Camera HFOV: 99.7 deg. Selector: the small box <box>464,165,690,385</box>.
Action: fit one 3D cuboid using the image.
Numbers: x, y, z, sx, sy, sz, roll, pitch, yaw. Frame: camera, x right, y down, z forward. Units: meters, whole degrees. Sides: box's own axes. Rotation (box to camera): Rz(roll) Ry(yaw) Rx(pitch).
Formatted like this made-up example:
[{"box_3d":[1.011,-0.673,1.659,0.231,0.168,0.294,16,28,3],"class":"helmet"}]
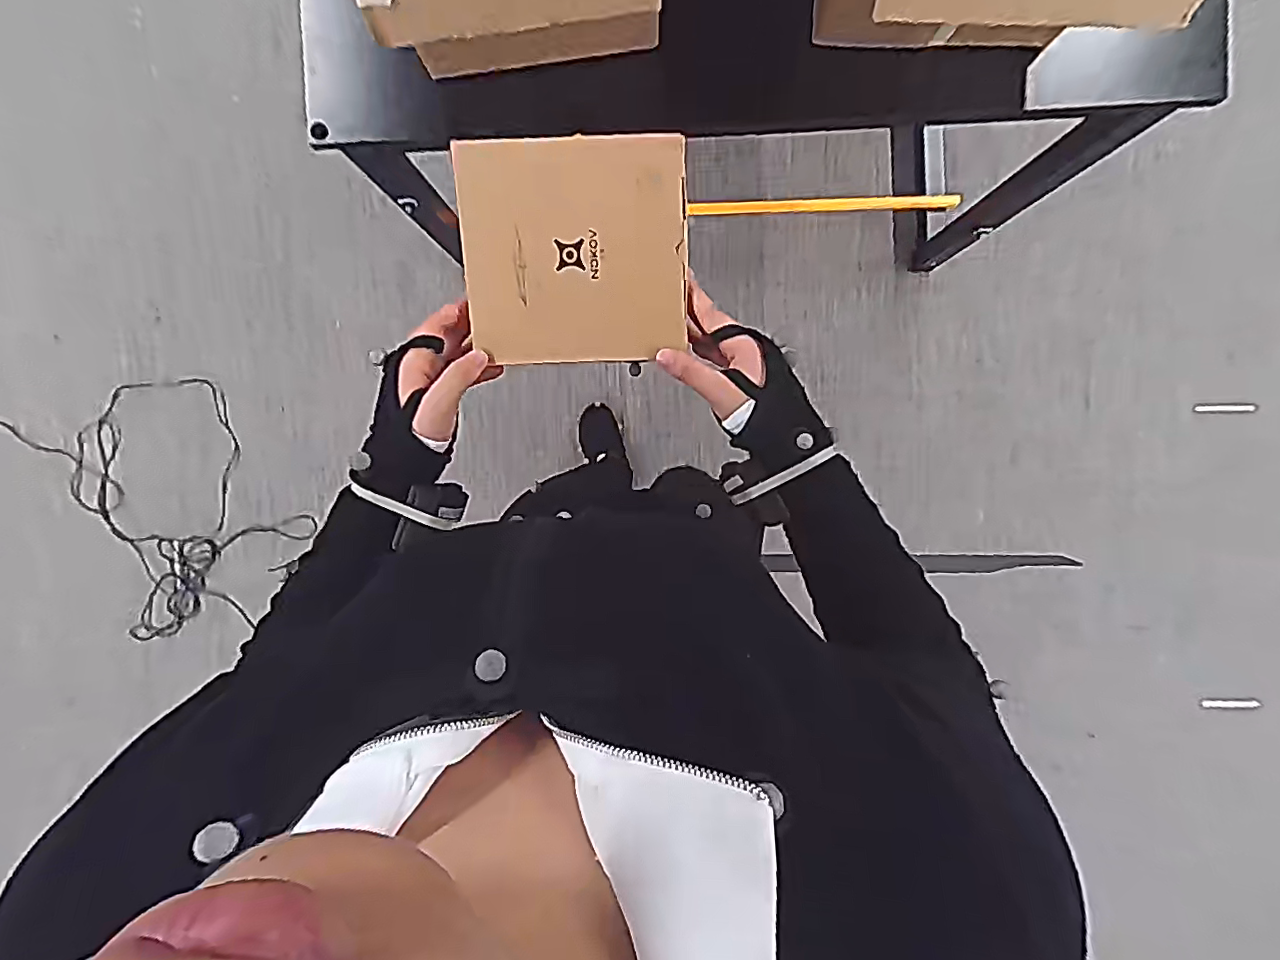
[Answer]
[{"box_3d":[-0.049,-0.181,0.514,0.179,0.176,0.168,-3,102,1],"class":"small box"}]
